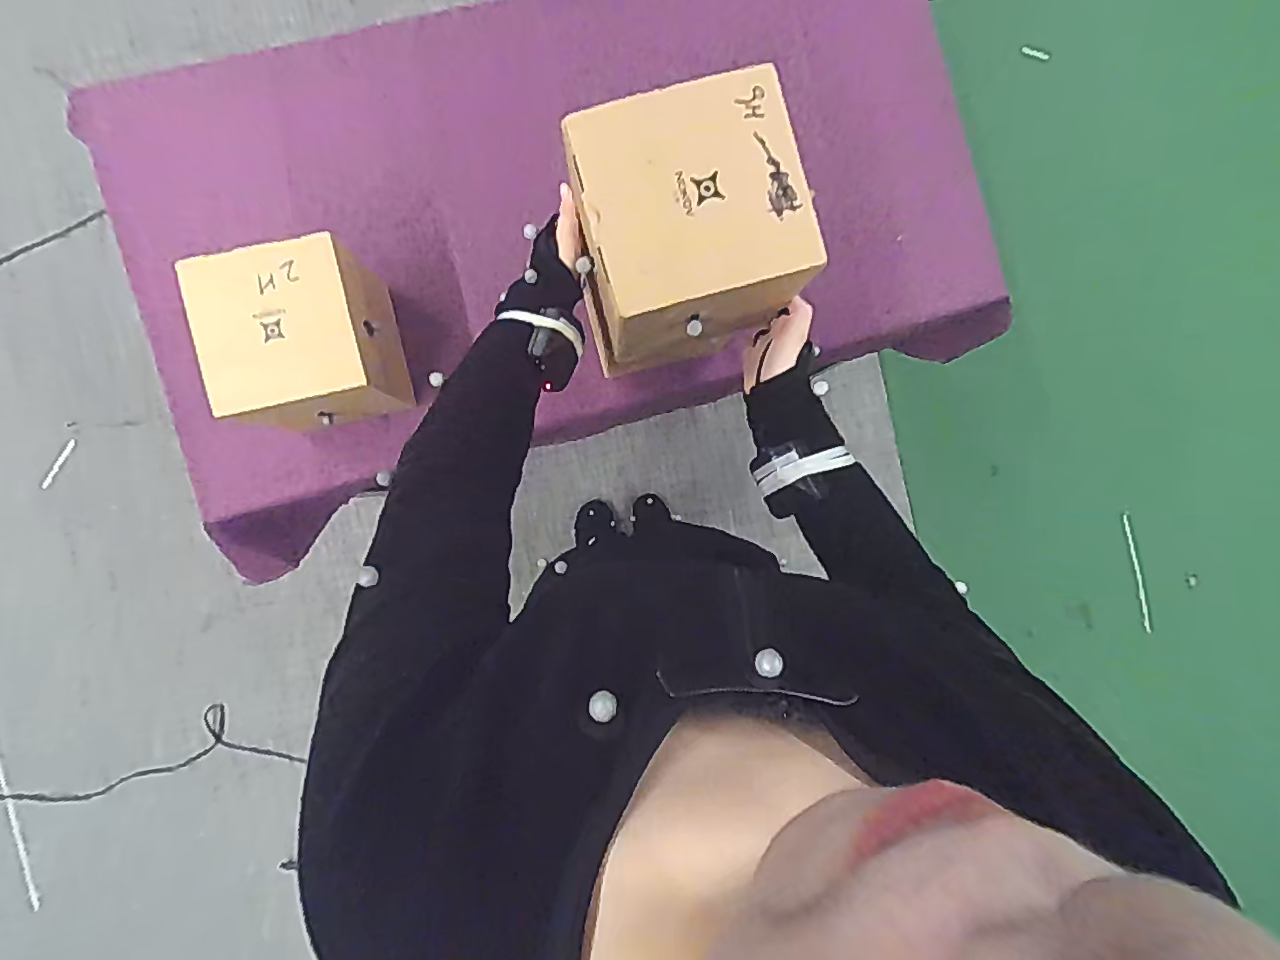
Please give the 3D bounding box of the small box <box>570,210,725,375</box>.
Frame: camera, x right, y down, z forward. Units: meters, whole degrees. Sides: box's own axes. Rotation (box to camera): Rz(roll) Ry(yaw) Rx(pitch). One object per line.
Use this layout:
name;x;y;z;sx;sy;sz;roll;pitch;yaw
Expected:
small box;0.017;-0.246;0.699;0.179;0.176;0.168;-15;91;-5

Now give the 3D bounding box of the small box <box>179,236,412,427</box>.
small box;-0.402;-0.166;0.665;0.168;0.176;0.179;-13;91;-5

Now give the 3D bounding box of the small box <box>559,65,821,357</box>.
small box;0.039;-0.226;0.502;0.179;0.176;0.168;-15;92;-1
